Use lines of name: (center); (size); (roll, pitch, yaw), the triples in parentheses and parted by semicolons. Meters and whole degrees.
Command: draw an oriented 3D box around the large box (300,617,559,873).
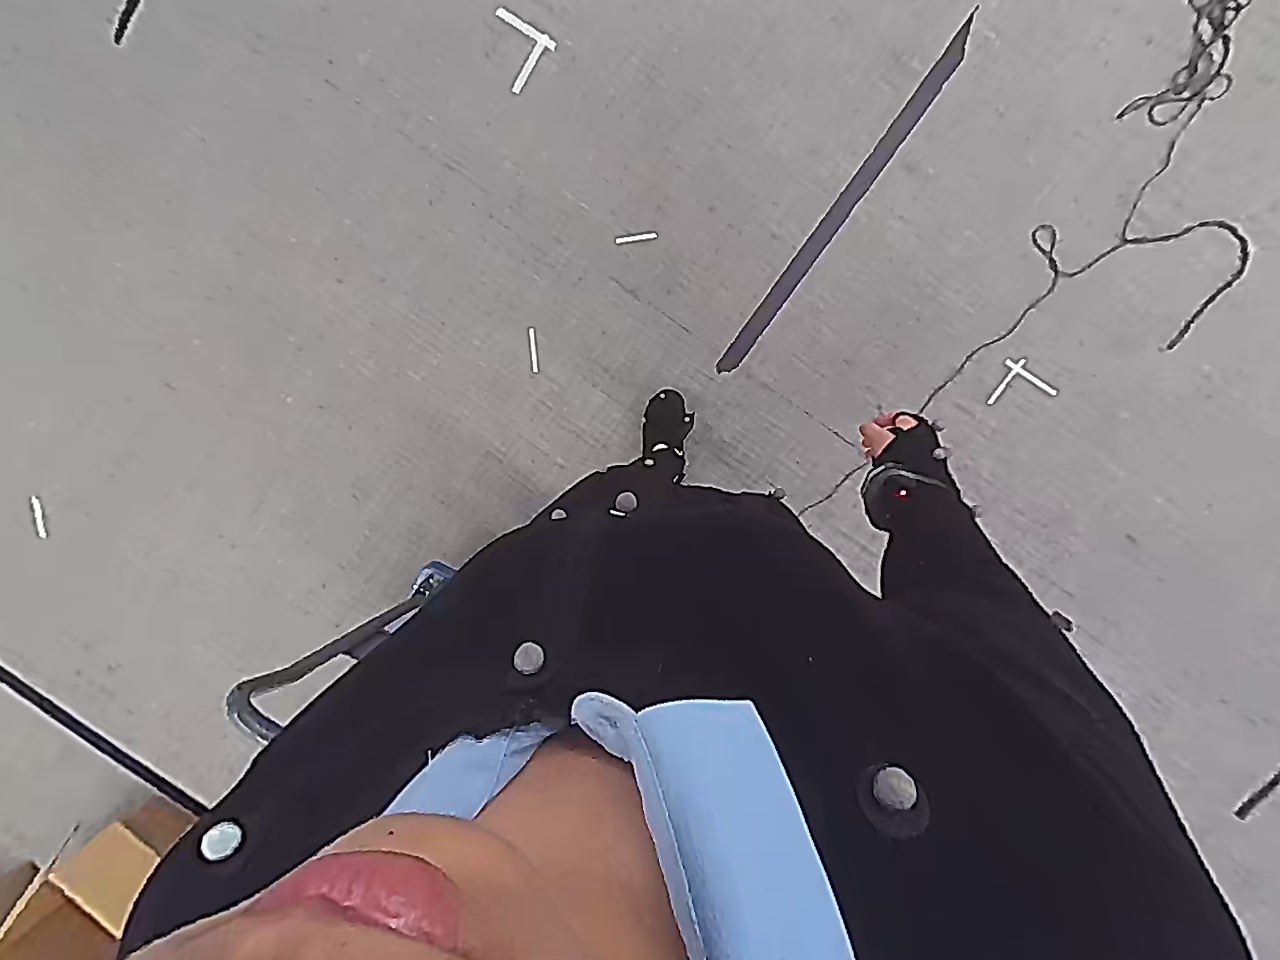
large box: (-0.453, 0.578, 1.245); (0.408, 0.320, 0.320); (26, 96, 2)
